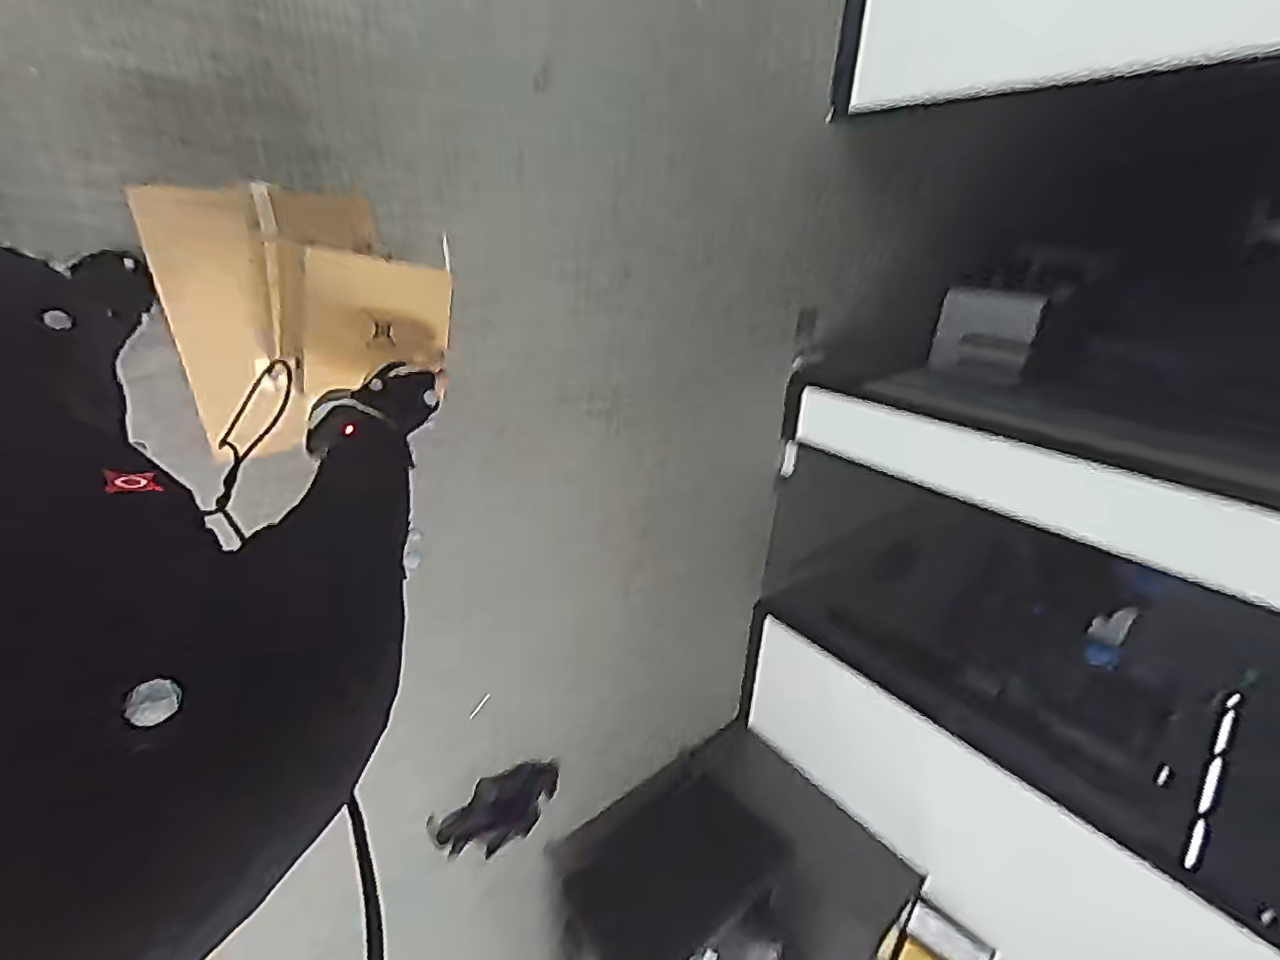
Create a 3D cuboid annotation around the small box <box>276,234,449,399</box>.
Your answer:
[{"bbox_3d":[-0.372,-0.216,0.716,0.168,0.176,0.179,-5,115,-41],"label":"small box"}]

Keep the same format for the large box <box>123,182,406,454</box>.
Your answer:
[{"bbox_3d":[-0.666,-0.312,0.987,0.320,0.320,0.408,-17,123,-35],"label":"large box"}]
